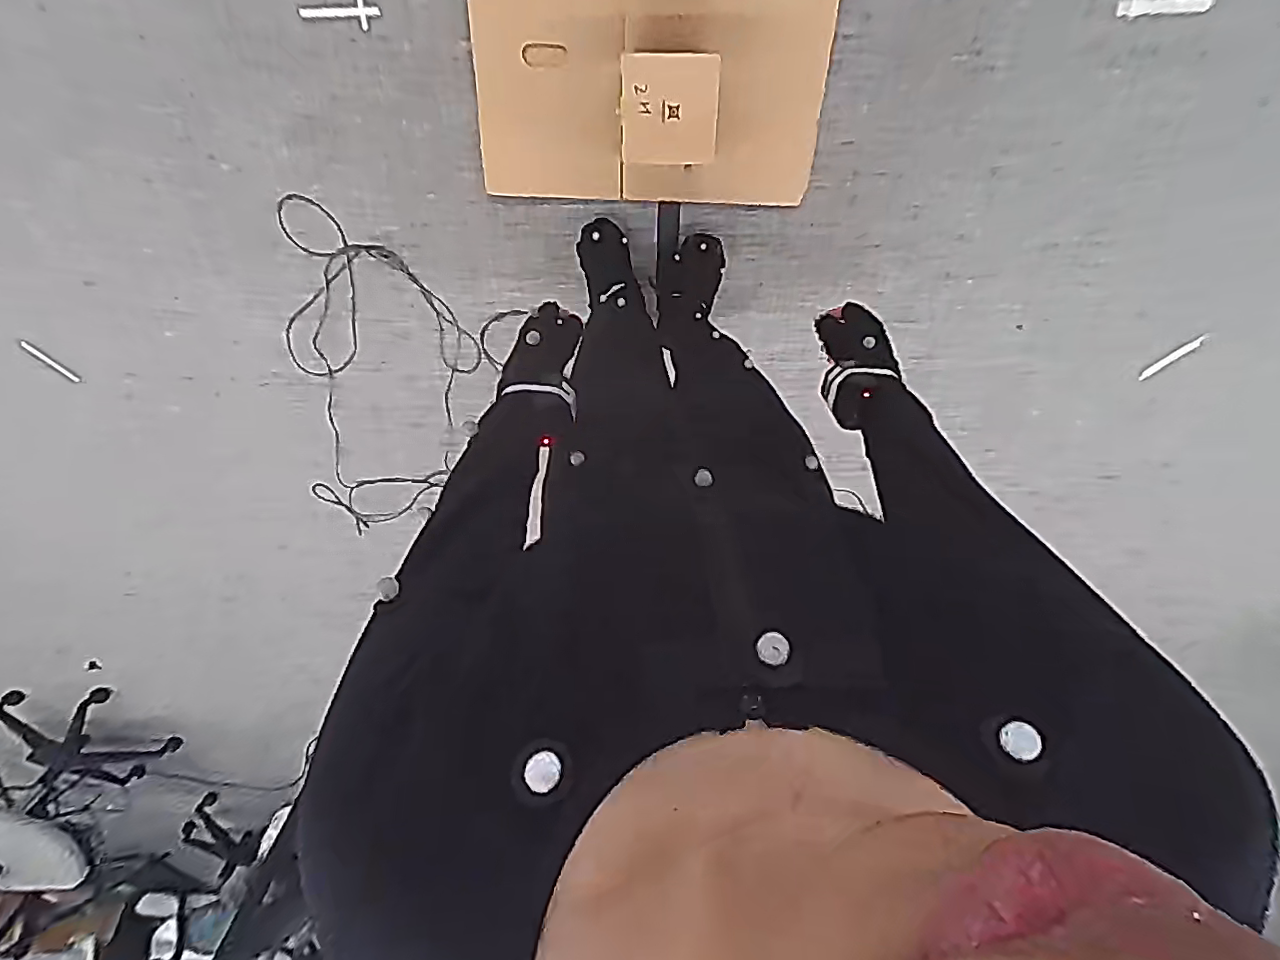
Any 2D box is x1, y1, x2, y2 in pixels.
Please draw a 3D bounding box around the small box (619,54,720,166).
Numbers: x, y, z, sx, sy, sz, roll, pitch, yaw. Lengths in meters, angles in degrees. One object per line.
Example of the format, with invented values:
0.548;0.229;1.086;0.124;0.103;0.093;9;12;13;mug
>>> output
0.051;-0.706;1.039;0.179;0.176;0.168;2;123;1;small box
